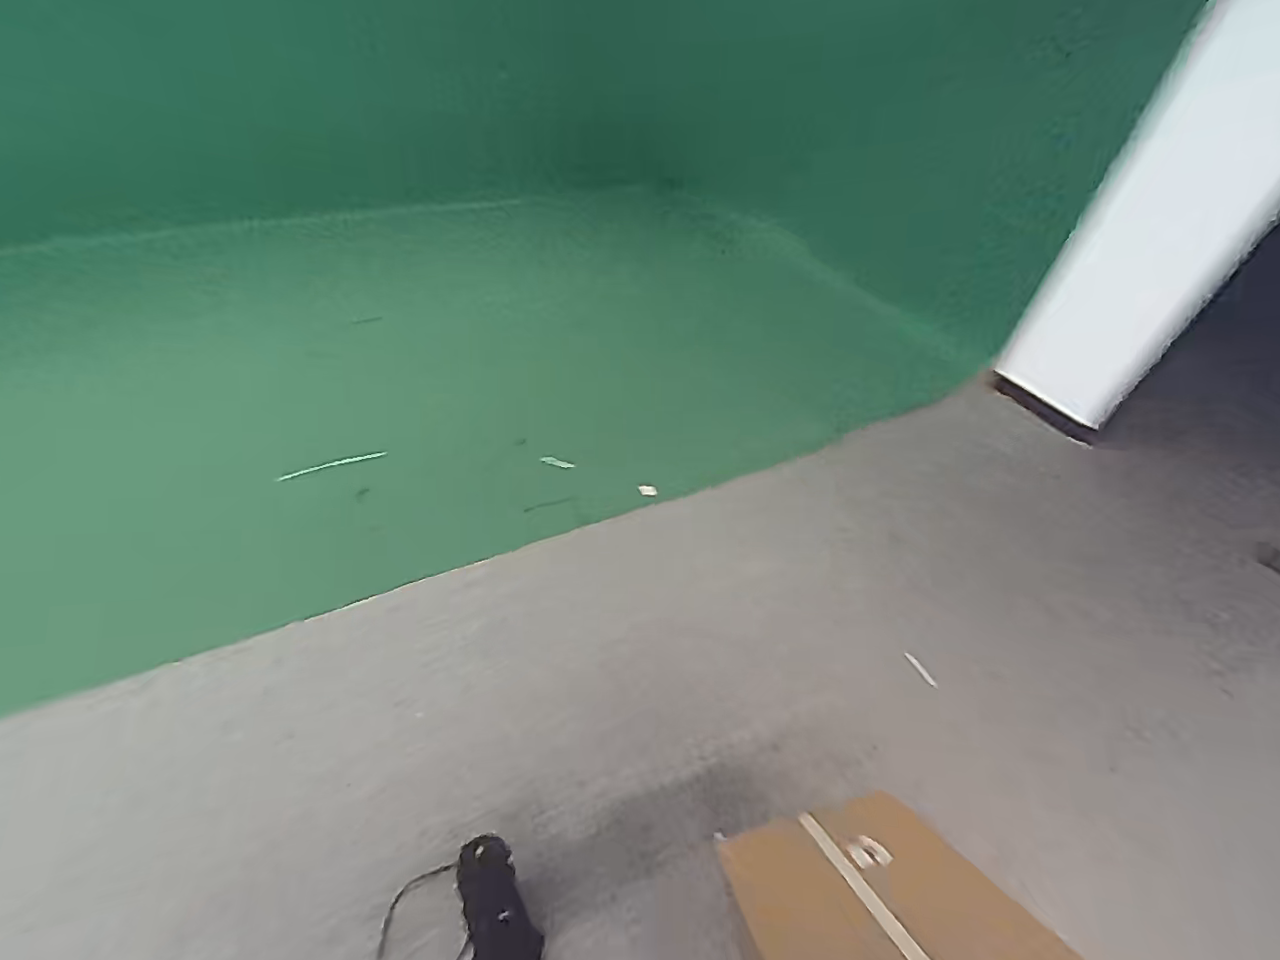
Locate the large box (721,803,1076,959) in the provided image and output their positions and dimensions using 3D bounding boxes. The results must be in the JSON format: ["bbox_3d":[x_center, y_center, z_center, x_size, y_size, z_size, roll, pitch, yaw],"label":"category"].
[{"bbox_3d":[0.336,0.712,0.708,0.320,0.408,0.320,-11,85,-7],"label":"large box"}]
